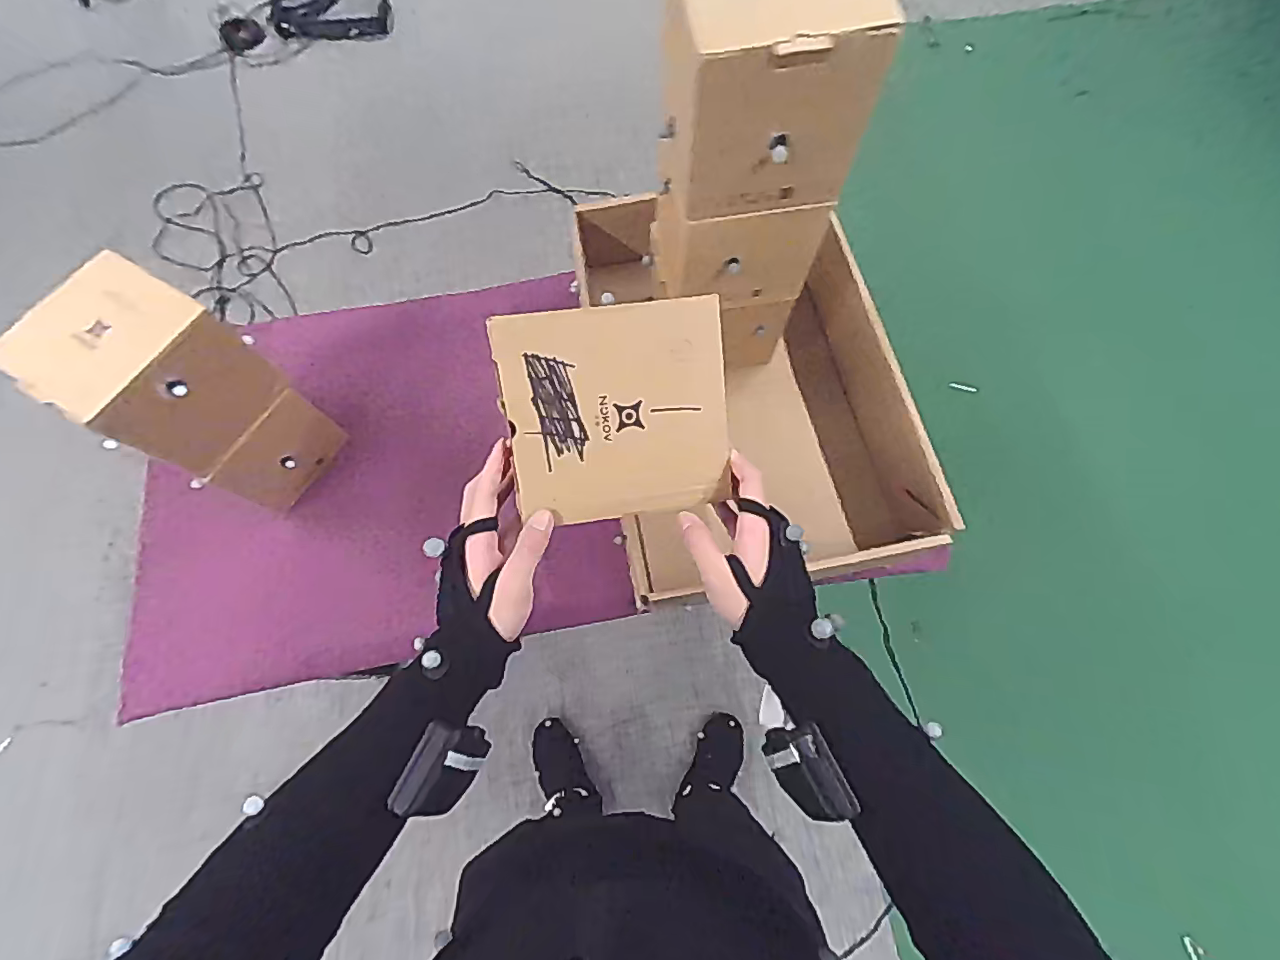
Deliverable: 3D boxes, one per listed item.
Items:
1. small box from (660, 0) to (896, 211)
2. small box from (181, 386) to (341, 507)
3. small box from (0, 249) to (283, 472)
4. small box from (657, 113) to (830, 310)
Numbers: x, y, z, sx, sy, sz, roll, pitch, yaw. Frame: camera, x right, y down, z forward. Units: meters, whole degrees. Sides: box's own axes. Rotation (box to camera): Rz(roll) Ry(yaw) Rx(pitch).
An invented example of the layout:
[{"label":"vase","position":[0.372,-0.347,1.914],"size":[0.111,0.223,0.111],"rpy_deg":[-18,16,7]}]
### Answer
[{"label":"small box","position":[0.113,-0.389,0.525],"size":[0.168,0.176,0.179],"rpy_deg":[-9,72,-2]},{"label":"small box","position":[-0.604,-0.076,0.822],"size":[0.179,0.176,0.168],"rpy_deg":[30,72,10]},{"label":"small box","position":[-0.600,-0.136,0.670],"size":[0.168,0.176,0.179],"rpy_deg":[30,73,9]},{"label":"small box","position":[0.116,-0.333,0.680],"size":[0.168,0.176,0.179],"rpy_deg":[-9,71,-2]}]
